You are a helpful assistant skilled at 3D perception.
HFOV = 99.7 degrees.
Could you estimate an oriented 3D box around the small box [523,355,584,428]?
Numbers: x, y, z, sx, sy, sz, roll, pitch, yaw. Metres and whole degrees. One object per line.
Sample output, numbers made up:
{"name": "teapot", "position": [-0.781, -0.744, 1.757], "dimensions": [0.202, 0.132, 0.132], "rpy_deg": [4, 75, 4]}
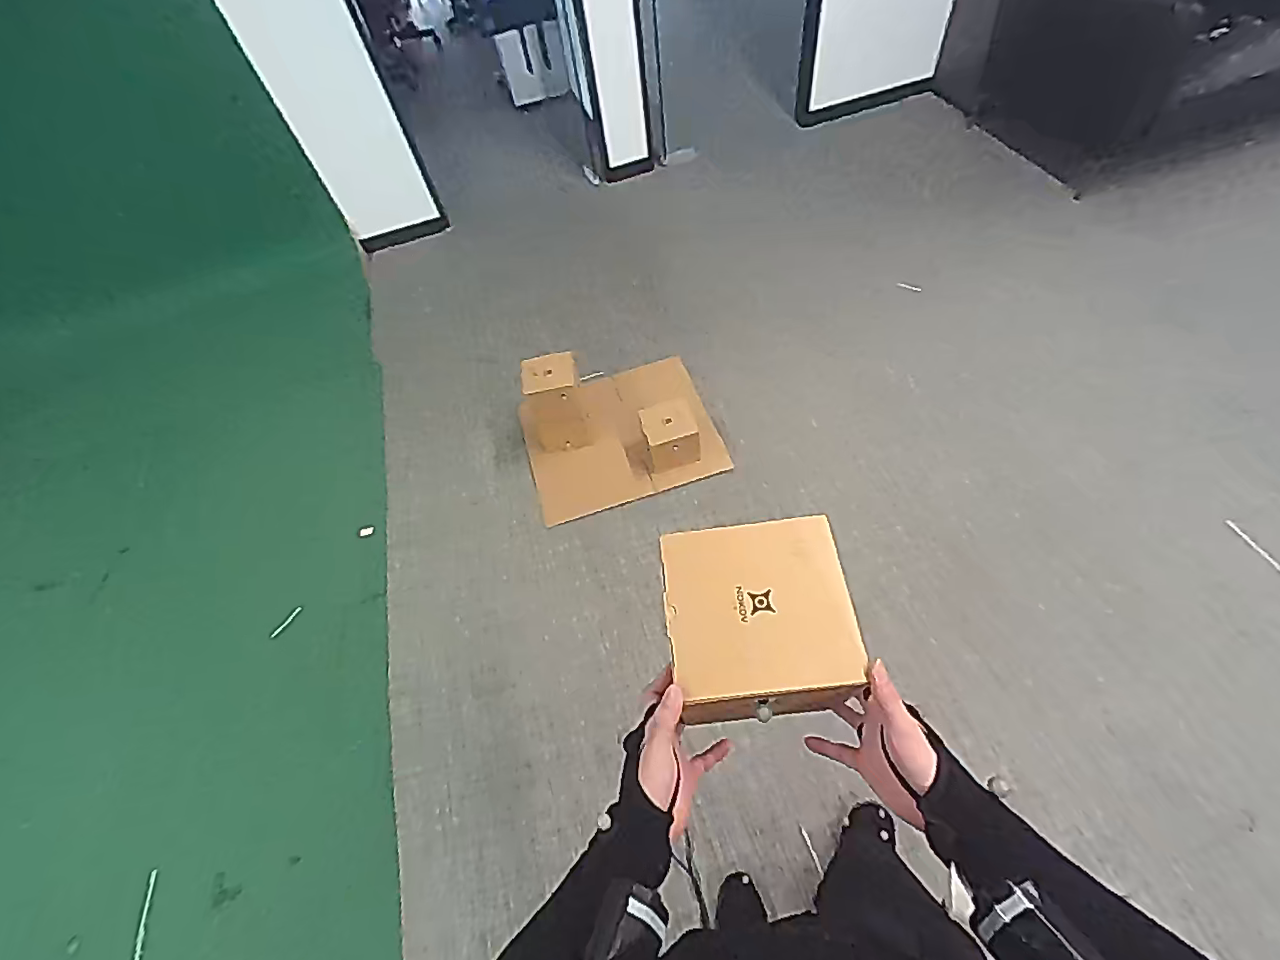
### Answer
{"name": "small box", "position": [-0.295, -0.302, 1.866], "dimensions": [0.179, 0.176, 0.168], "rpy_deg": [-11, 55, 1]}

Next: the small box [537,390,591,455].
{"name": "small box", "position": [-0.280, -0.215, 2.006], "dimensions": [0.179, 0.176, 0.168], "rpy_deg": [-10, 55, 1]}

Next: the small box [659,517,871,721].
{"name": "small box", "position": [0.122, 0.158, 0.586], "dimensions": [0.179, 0.176, 0.168], "rpy_deg": [-9, 59, 4]}

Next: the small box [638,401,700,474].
{"name": "small box", "position": [0.106, -0.144, 1.906], "dimensions": [0.179, 0.176, 0.168], "rpy_deg": [-17, 56, -3]}
